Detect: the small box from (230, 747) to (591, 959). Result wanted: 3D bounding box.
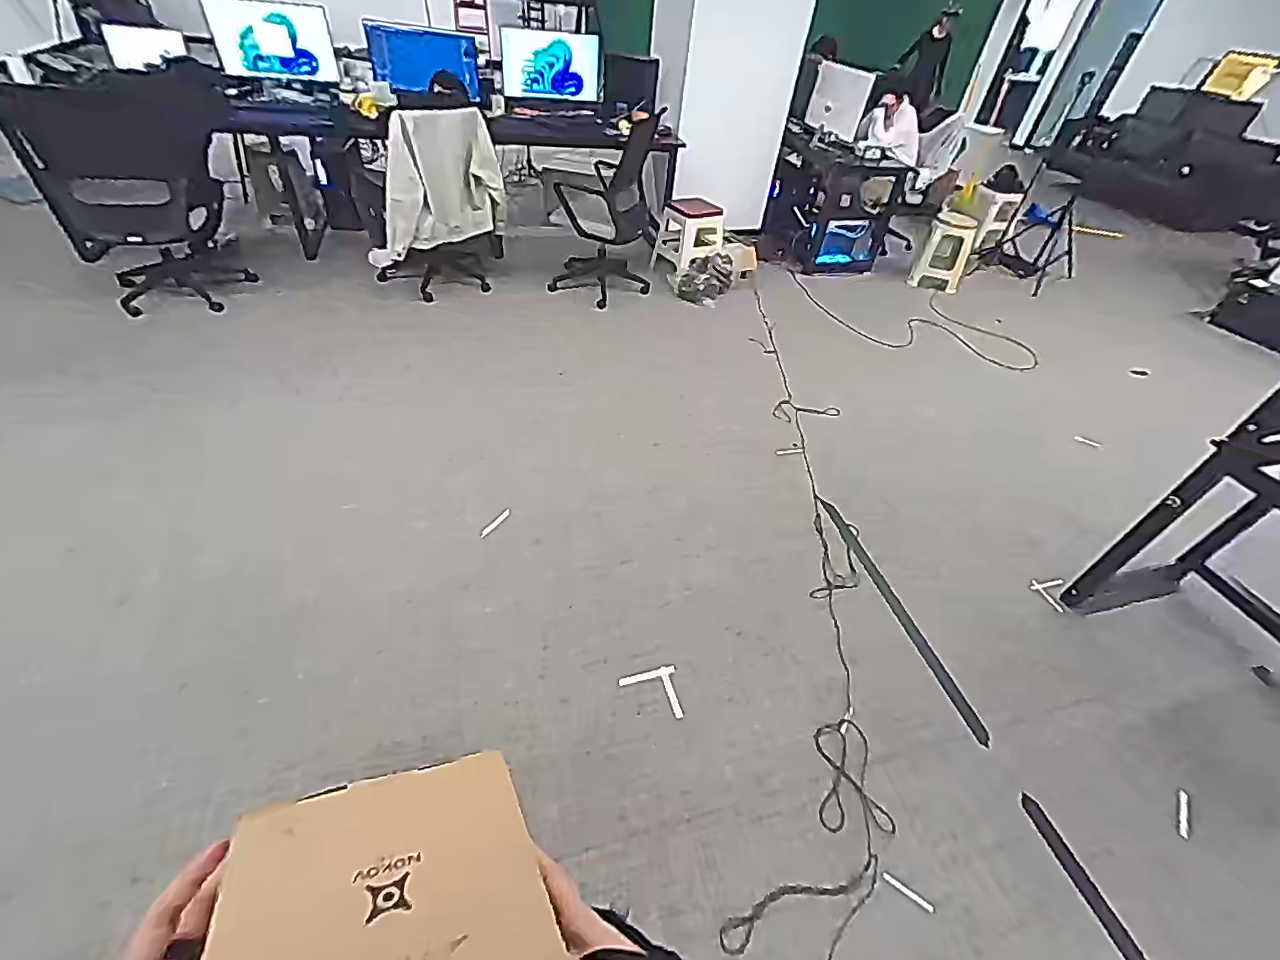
[{"bbox_3d":[-0.140,0.307,0.327,0.168,0.176,0.179,-2,16,-28],"label":"small box"}]
